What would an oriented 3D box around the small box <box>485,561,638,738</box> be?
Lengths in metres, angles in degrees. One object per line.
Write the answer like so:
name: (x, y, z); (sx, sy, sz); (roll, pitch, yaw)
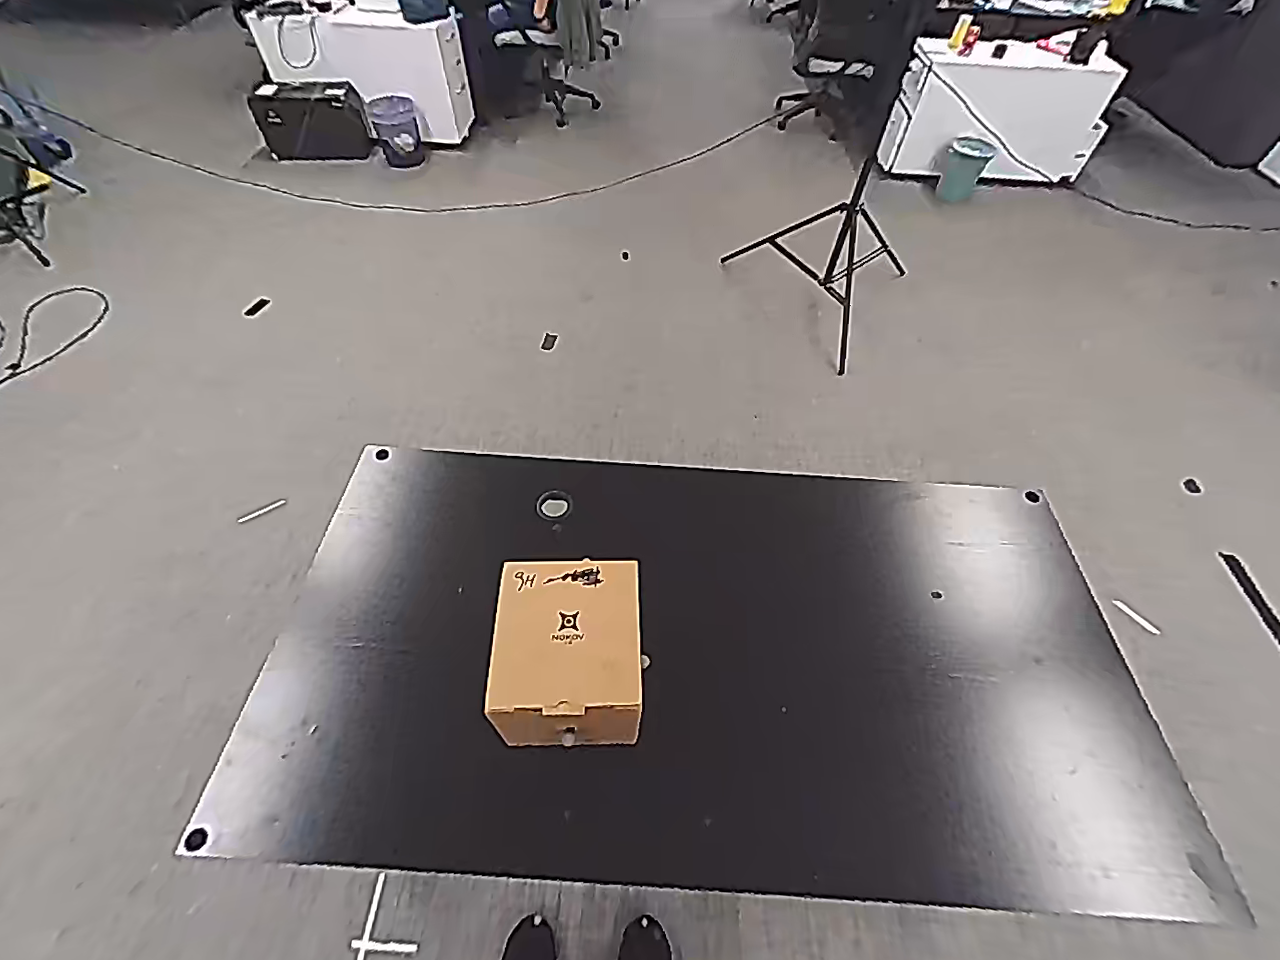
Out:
small box: (-0.086, 0.219, 0.682); (0.168, 0.176, 0.179); (-1, 53, -2)
